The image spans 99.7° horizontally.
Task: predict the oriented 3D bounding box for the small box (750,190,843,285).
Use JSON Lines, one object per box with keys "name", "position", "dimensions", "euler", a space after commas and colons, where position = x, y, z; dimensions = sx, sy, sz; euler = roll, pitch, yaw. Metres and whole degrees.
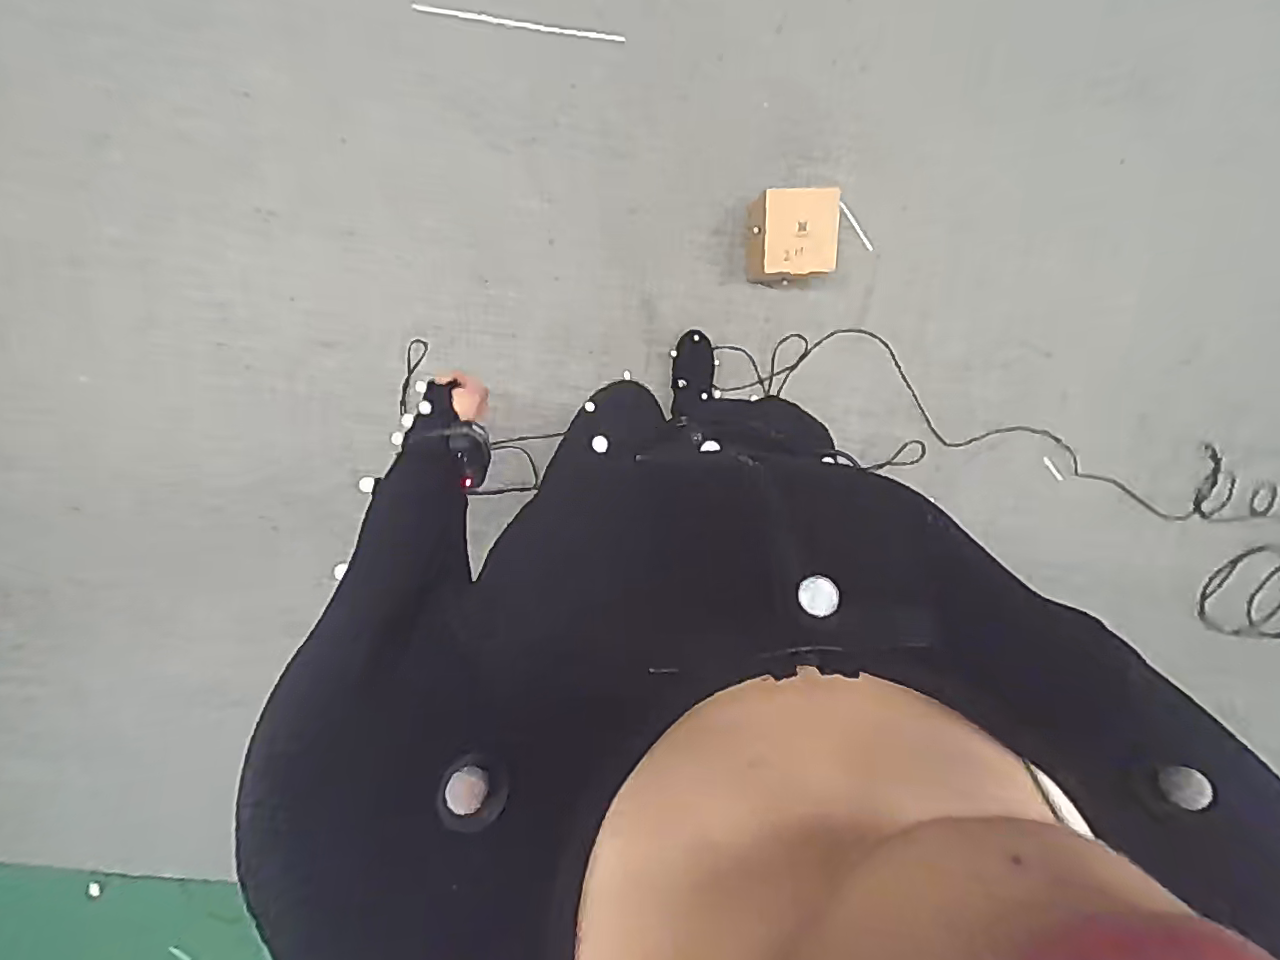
{"name": "small box", "position": [0.358, -0.560, 1.267], "dimensions": [0.168, 0.176, 0.179], "euler": [-2, 104, -2]}
